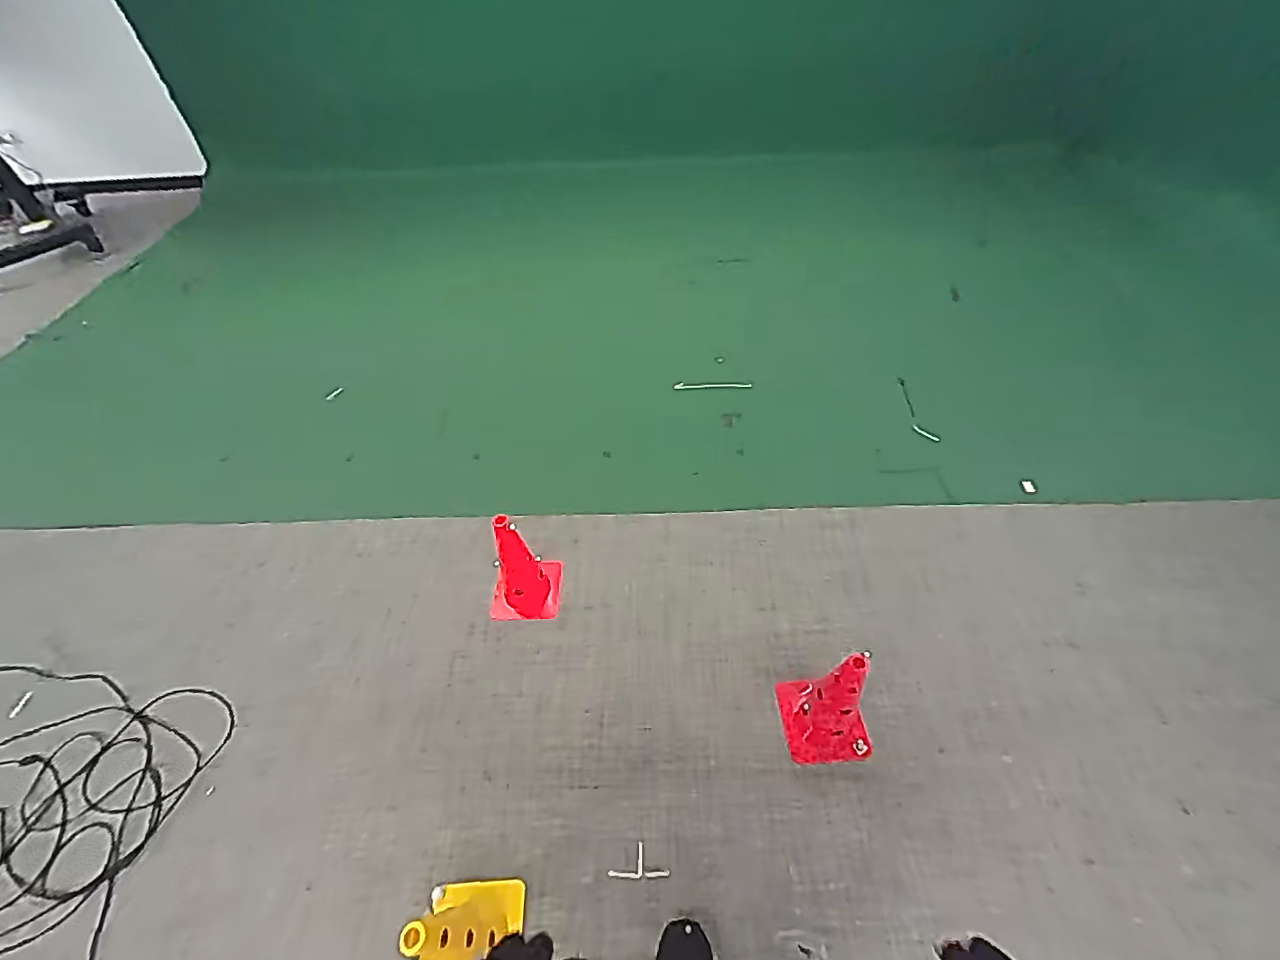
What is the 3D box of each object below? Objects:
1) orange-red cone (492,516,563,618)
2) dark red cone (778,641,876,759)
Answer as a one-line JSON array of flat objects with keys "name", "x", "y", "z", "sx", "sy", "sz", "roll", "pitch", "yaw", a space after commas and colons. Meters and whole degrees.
[{"name": "orange-red cone", "x": -0.350, "y": 0.222, "z": 1.525, "sx": 0.198, "sy": 0.360, "sz": 0.199, "roll": -2, "pitch": 50, "yaw": 3}, {"name": "dark red cone", "x": 0.454, "y": 0.471, "z": 1.228, "sx": 0.202, "sy": 0.394, "sz": 0.201, "roll": -6, "pitch": 48, "yaw": -2}]
